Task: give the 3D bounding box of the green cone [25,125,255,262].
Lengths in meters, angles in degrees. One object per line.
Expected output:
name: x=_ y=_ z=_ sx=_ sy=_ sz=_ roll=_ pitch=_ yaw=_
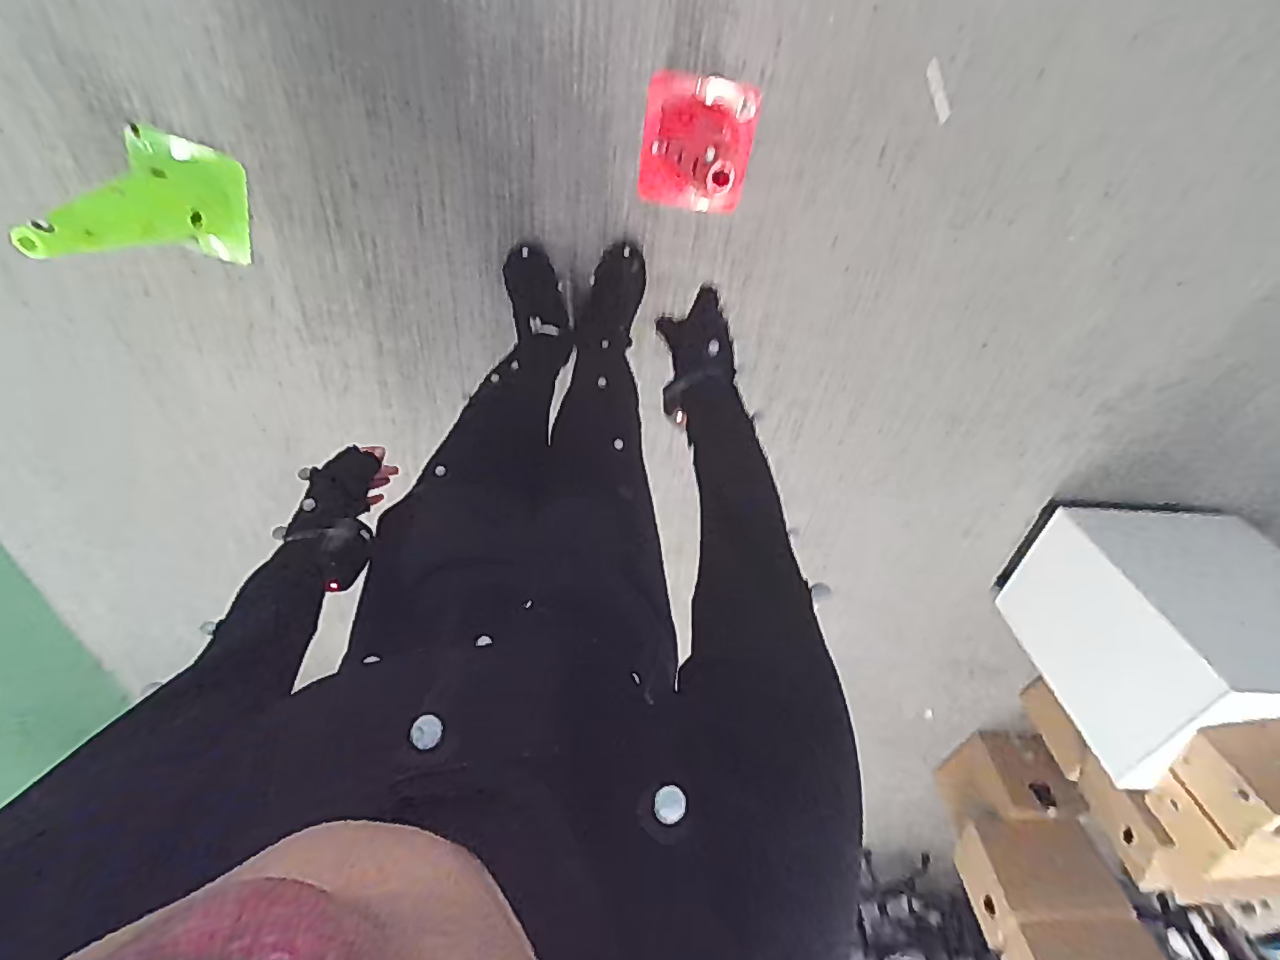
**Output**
green cone: x=-0.862 y=-0.447 z=0.915 sx=0.202 sy=0.368 sz=0.200 roll=15 pitch=125 yaw=-12
